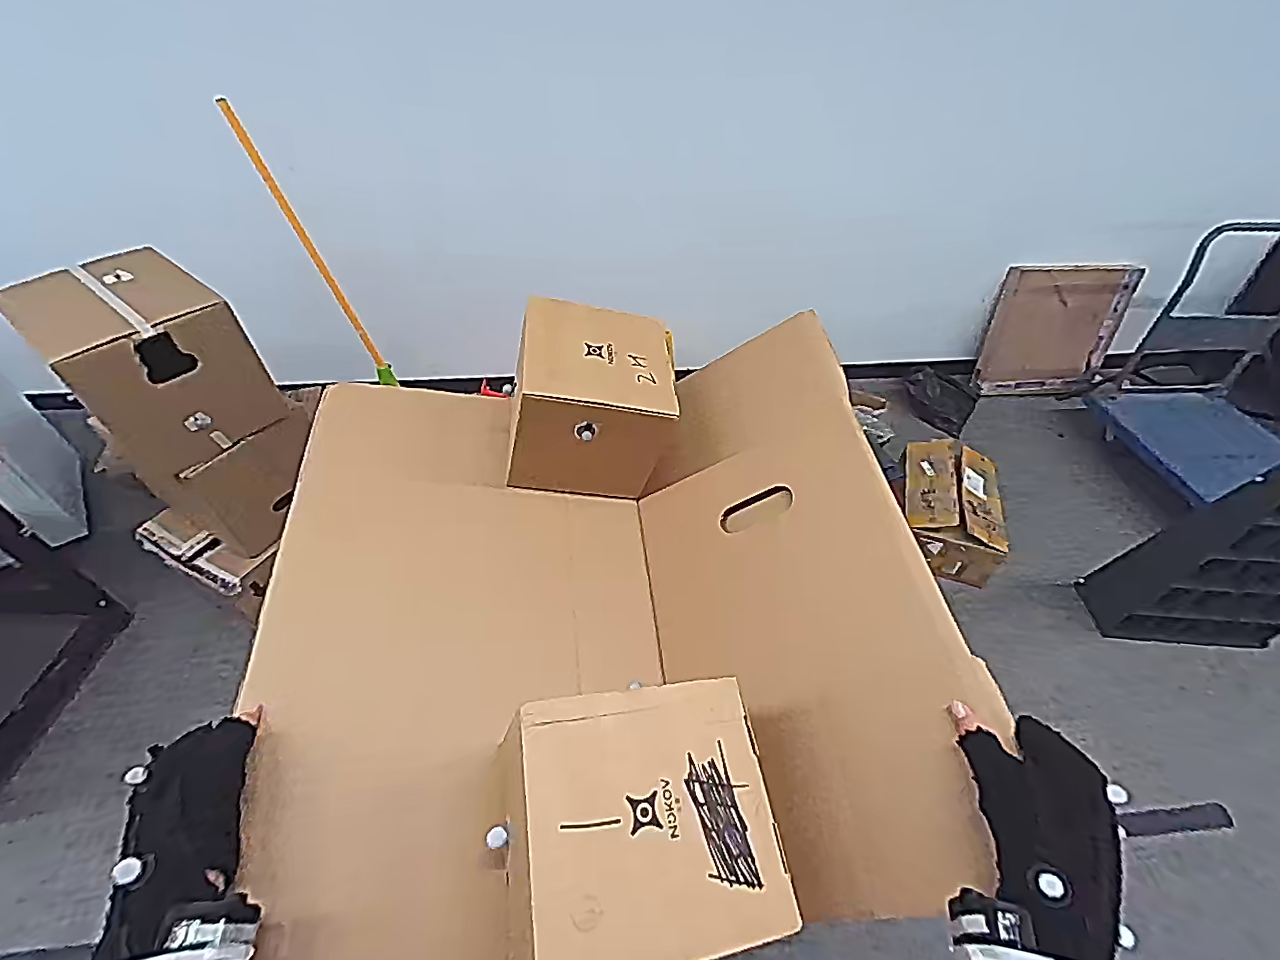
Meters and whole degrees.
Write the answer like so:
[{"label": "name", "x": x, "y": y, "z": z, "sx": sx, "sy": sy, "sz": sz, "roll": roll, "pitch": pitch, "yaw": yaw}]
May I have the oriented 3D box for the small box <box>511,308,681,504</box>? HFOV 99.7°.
[{"label": "small box", "x": -0.063, "y": -0.085, "z": 0.682, "sx": 0.179, "sy": 0.176, "sz": 0.168, "roll": 8, "pitch": 53, "yaw": -16}]
